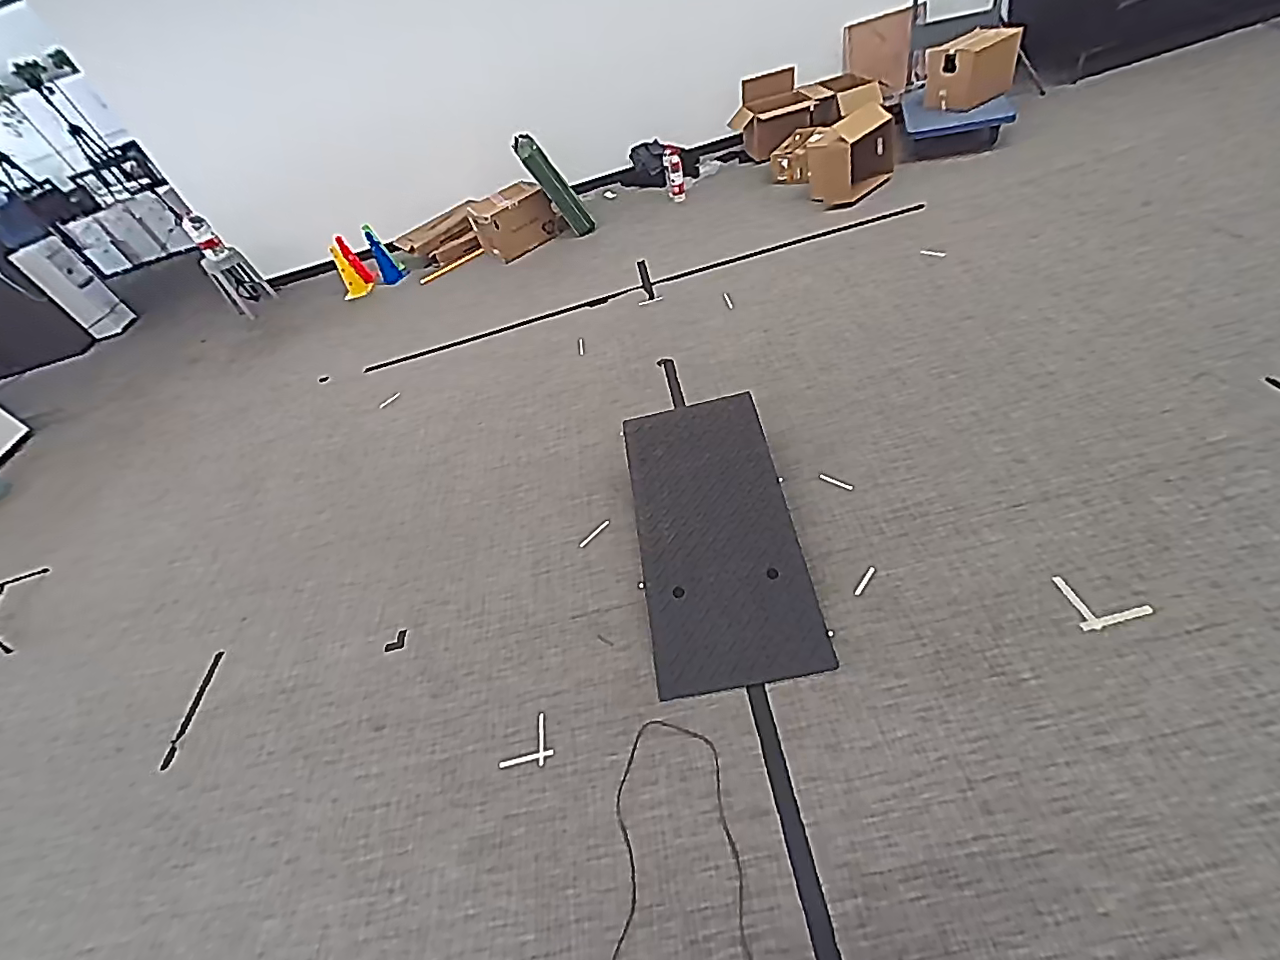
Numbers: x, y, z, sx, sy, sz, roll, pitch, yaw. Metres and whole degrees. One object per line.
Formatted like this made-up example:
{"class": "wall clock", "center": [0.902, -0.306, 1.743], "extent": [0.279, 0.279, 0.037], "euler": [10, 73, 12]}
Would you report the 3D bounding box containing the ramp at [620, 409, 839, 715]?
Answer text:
{"class": "ramp", "center": [0.232, 0.191, 1.749], "extent": [0.509, 0.206, 0.991], "euler": [-15, 44, 4]}
